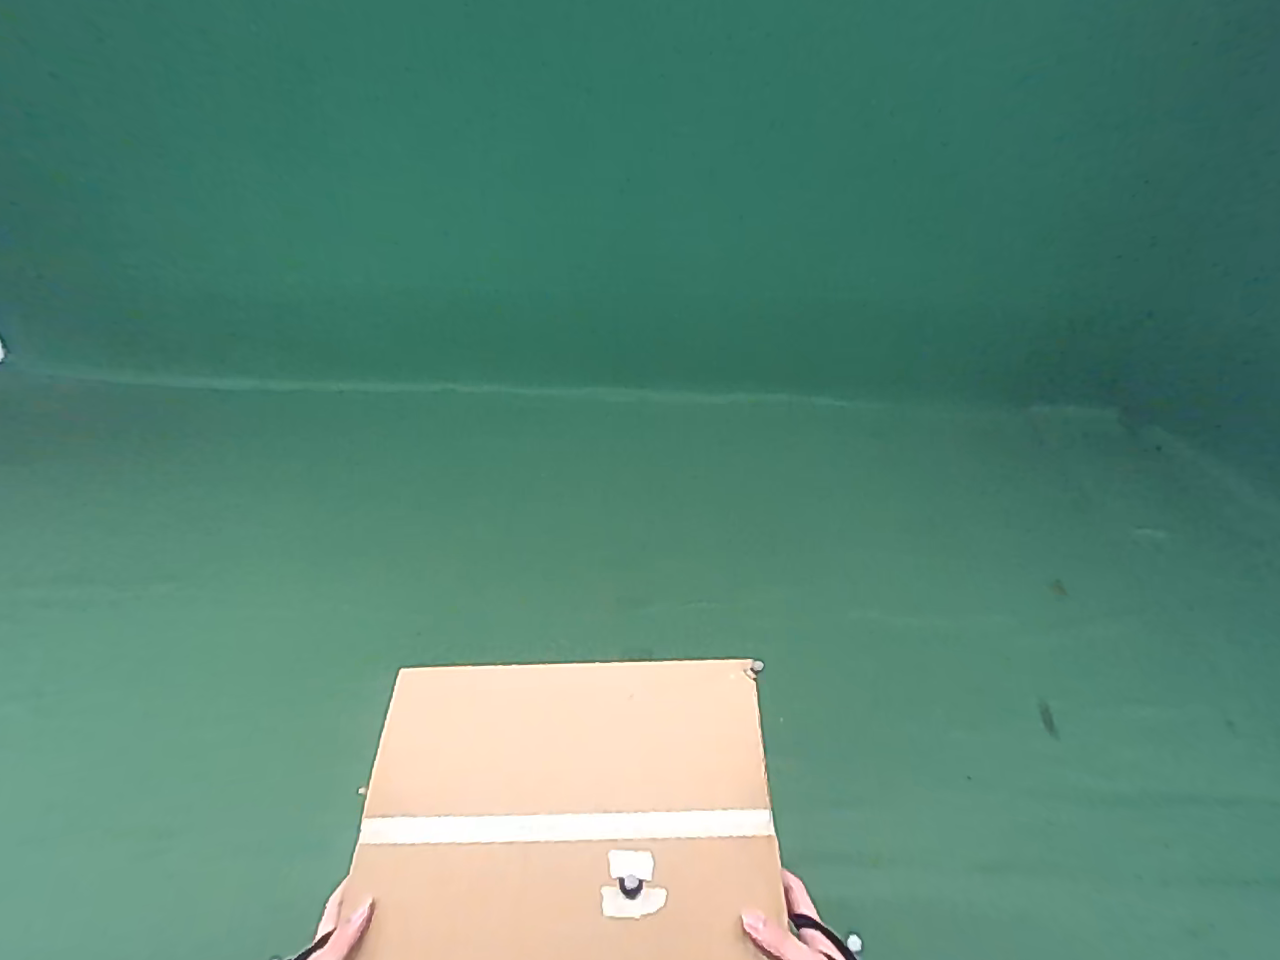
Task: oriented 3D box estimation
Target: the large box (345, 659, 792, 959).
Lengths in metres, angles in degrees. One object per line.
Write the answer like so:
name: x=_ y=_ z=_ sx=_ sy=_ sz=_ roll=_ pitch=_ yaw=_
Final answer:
large box: x=-0.064 y=0.426 z=0.657 sx=0.408 sy=0.320 sz=0.320 roll=-2 pitch=56 yaw=1
